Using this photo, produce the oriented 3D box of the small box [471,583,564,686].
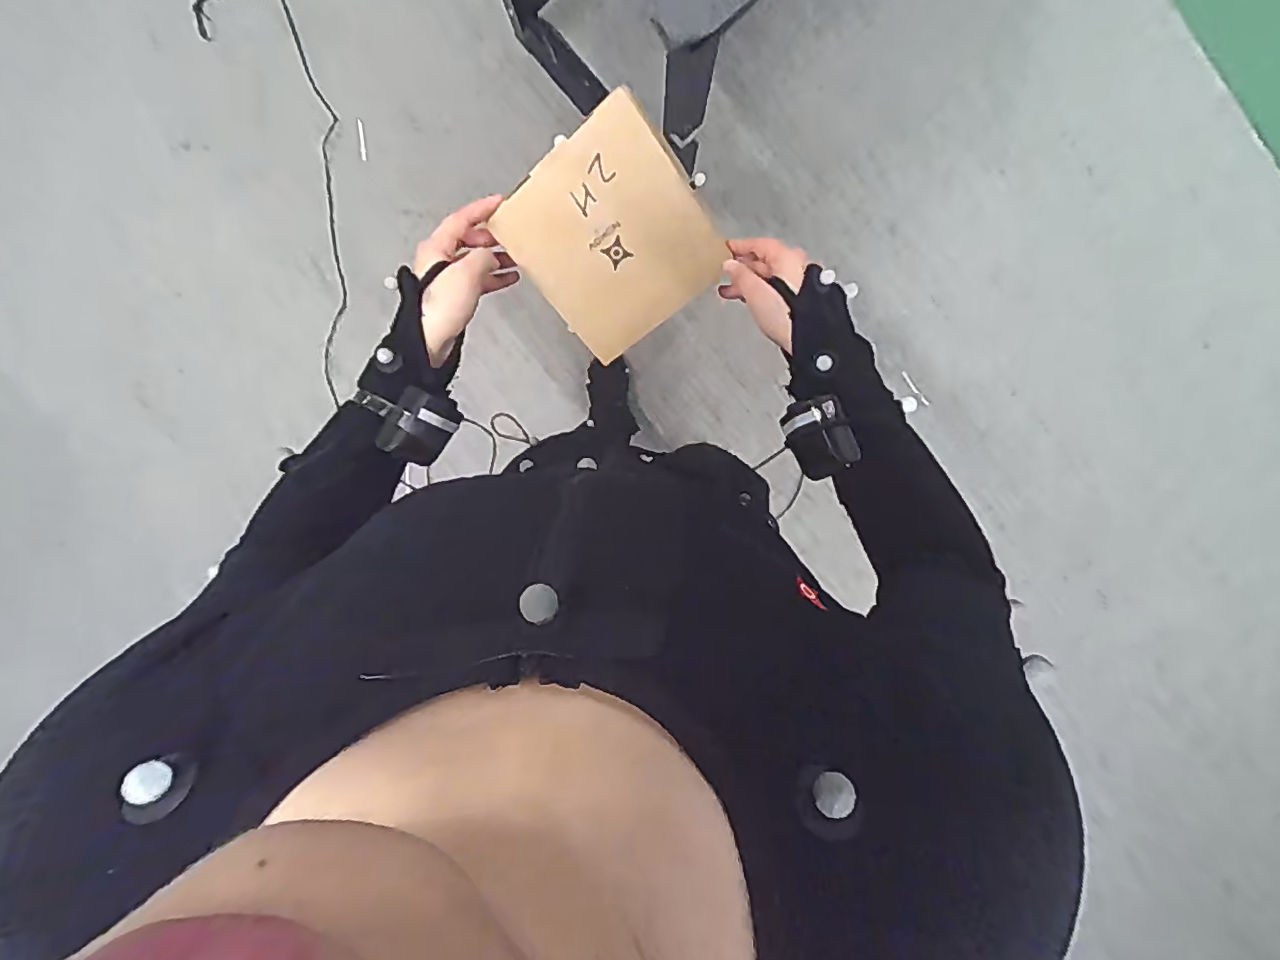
[{"bbox_3d":[-0.322,0.410,1.468,0.179,0.176,0.168,-44,97,7],"label":"small box"}]
